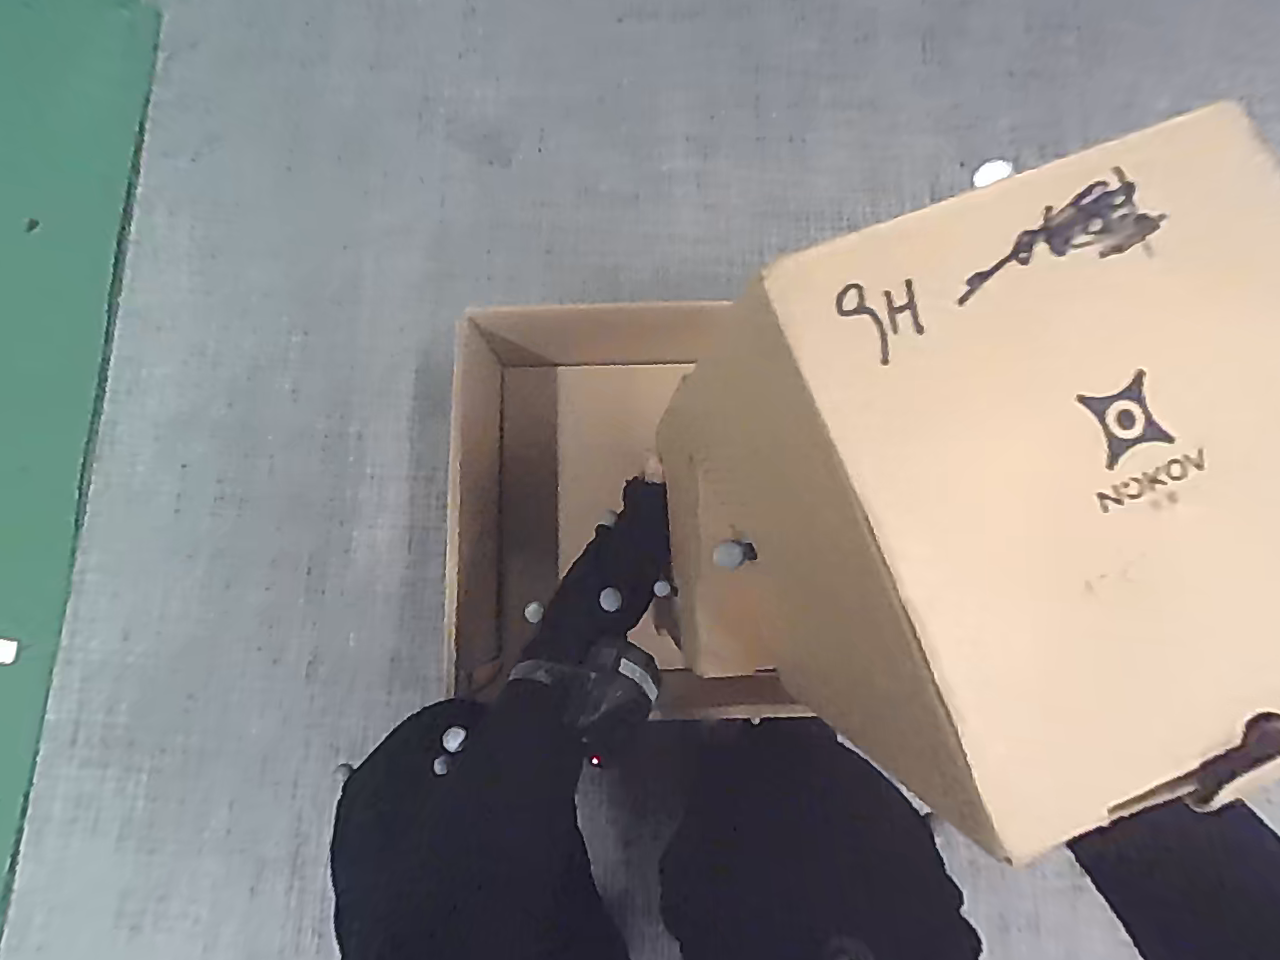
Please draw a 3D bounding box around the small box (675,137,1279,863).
[{"bbox_3d":[0.126,0.005,0.238,0.168,0.176,0.179,-20,87,-6],"label":"small box"}]

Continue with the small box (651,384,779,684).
[{"bbox_3d":[0.098,0.036,0.396,0.168,0.176,0.179,-2,82,-4],"label":"small box"}]

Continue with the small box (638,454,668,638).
[{"bbox_3d":[0.090,0.061,0.556,0.179,0.176,0.168,-3,84,-1],"label":"small box"}]
